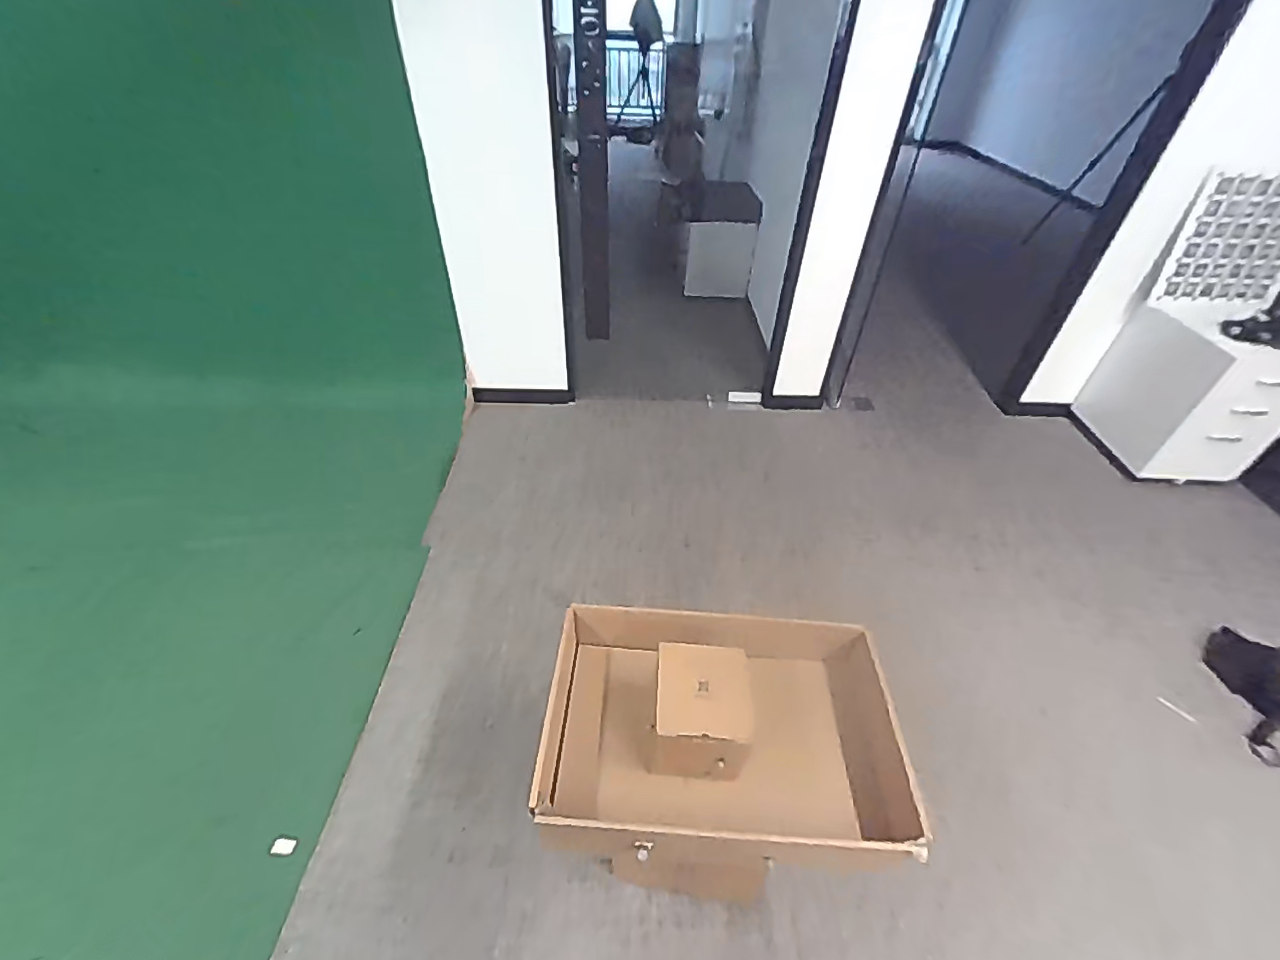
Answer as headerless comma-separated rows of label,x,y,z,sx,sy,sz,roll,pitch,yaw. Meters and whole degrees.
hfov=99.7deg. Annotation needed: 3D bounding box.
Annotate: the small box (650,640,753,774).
small box,0.109,0.428,1.014,0.168,0.176,0.179,5,40,-1
